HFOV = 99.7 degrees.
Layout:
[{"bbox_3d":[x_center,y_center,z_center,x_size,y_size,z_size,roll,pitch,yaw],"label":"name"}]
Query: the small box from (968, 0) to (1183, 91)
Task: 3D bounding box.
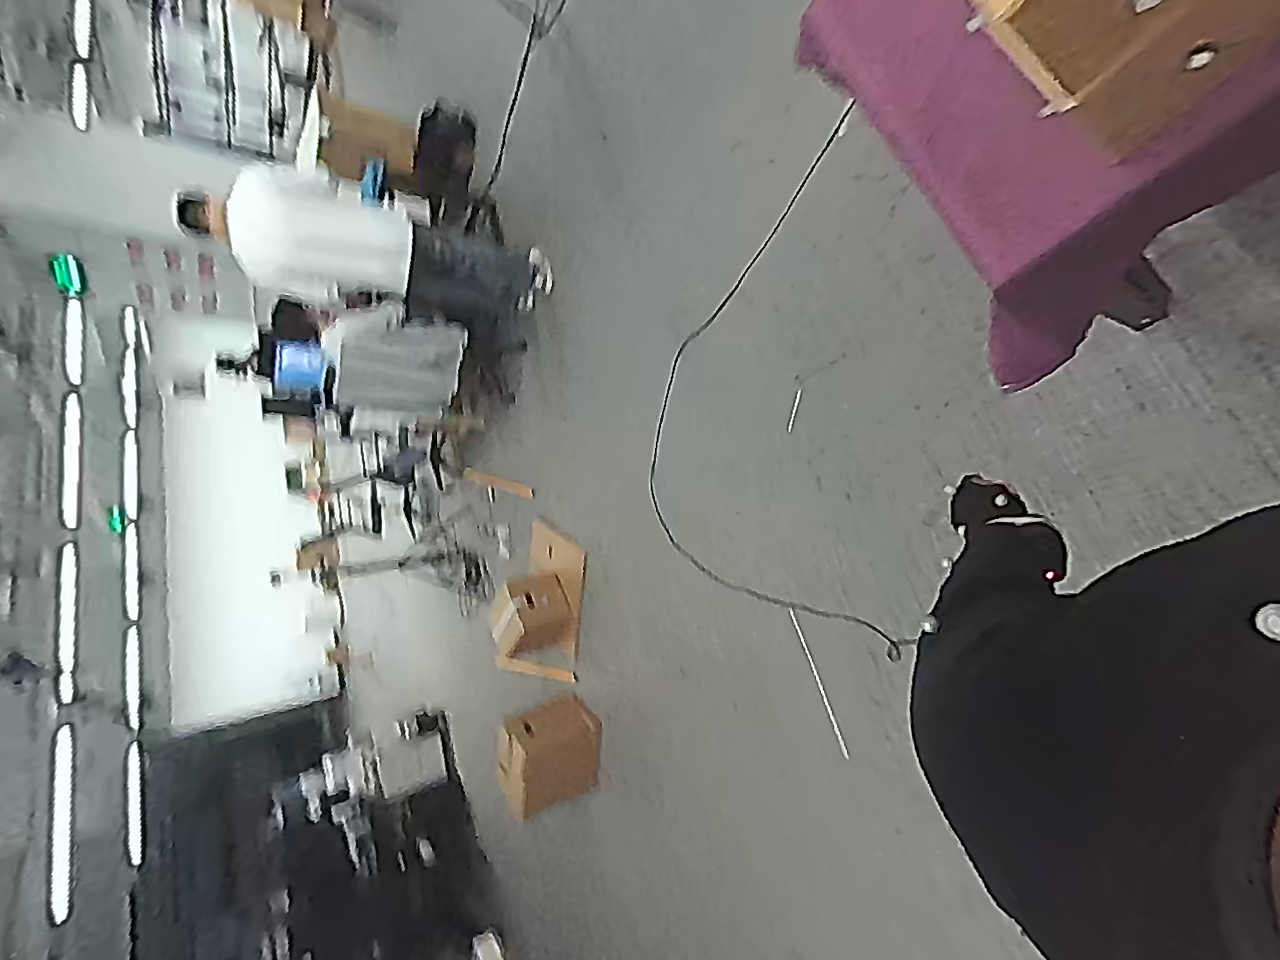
[{"bbox_3d":[0.353,-0.464,0.434,0.168,0.176,0.179,-41,62,46],"label":"small box"}]
